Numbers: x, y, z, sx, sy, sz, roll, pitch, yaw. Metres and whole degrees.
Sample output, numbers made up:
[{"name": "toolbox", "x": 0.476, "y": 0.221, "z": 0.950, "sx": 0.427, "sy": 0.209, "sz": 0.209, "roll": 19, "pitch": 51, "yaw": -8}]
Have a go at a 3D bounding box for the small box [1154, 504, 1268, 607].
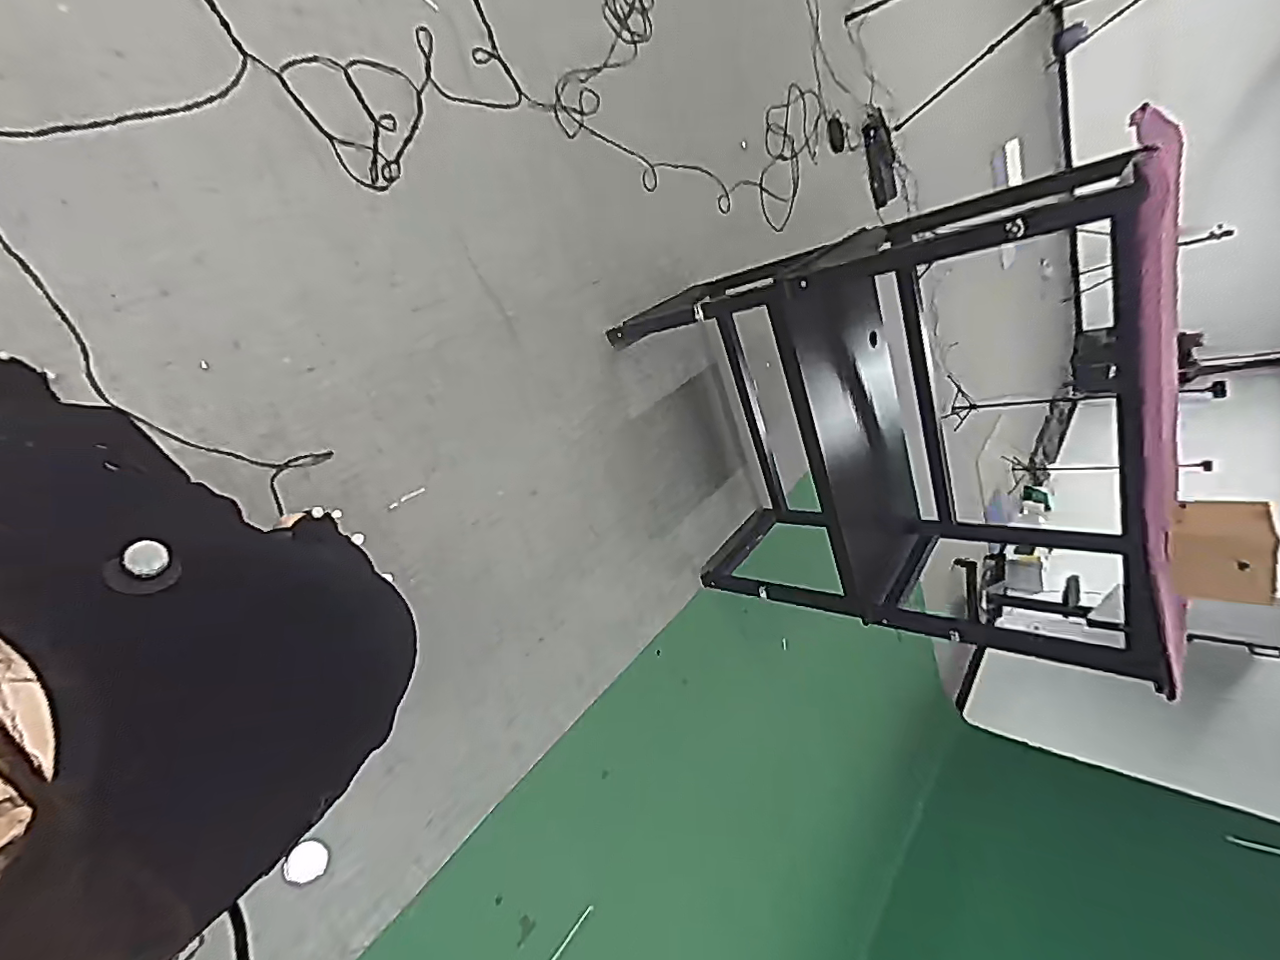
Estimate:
[{"name": "small box", "x": 1.313, "y": 0.167, "z": 1.254, "sx": 0.168, "sy": 0.176, "sz": 0.179, "roll": -38, "pitch": 117, "yaw": -39}]
